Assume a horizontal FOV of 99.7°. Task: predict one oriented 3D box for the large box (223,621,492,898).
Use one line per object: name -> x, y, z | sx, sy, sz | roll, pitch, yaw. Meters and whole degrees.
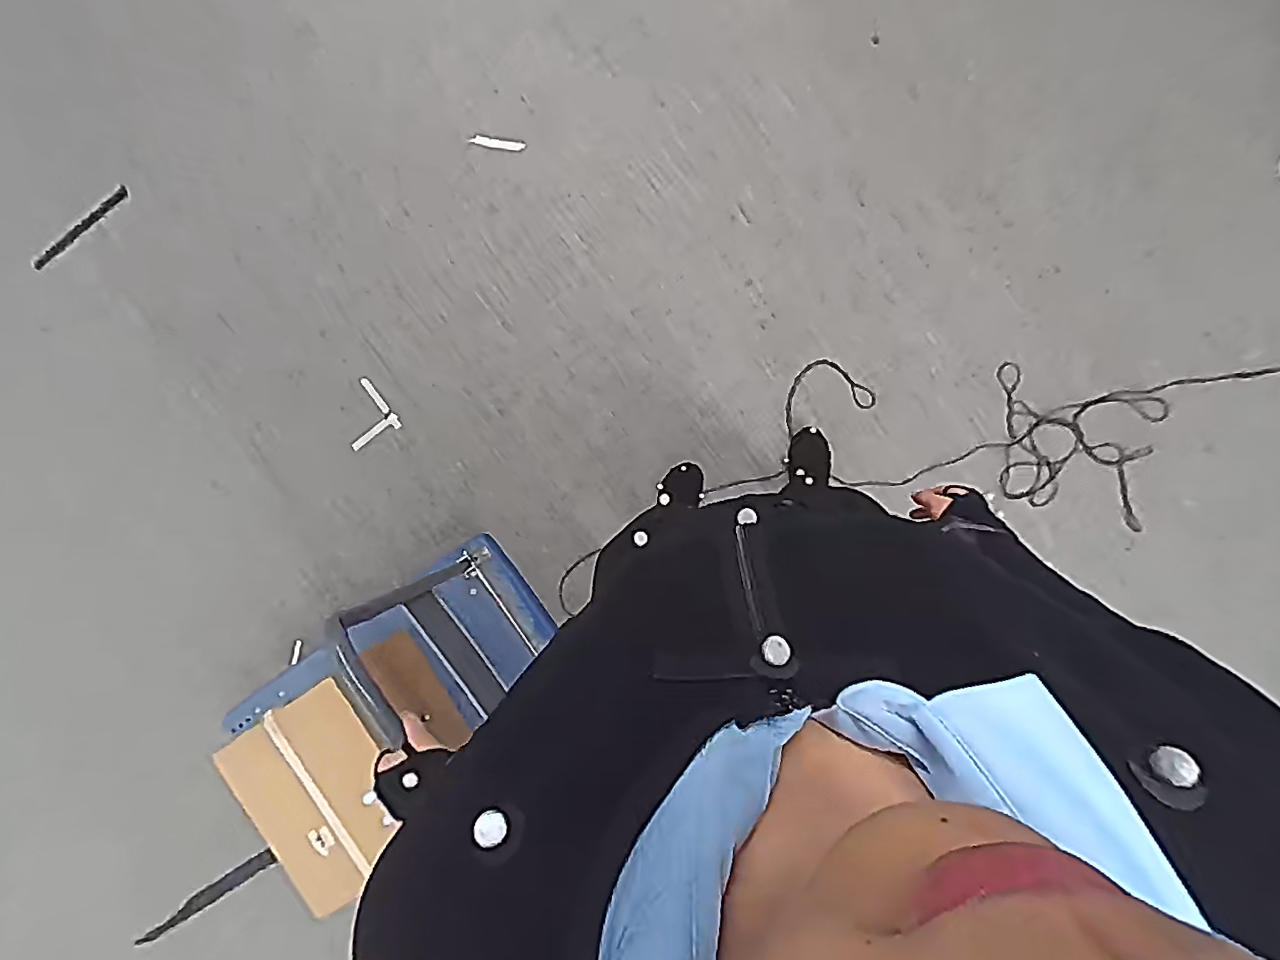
large box -> -0.617, 0.610, 1.250 | 0.320, 0.320, 0.408 | -33, 91, 5
